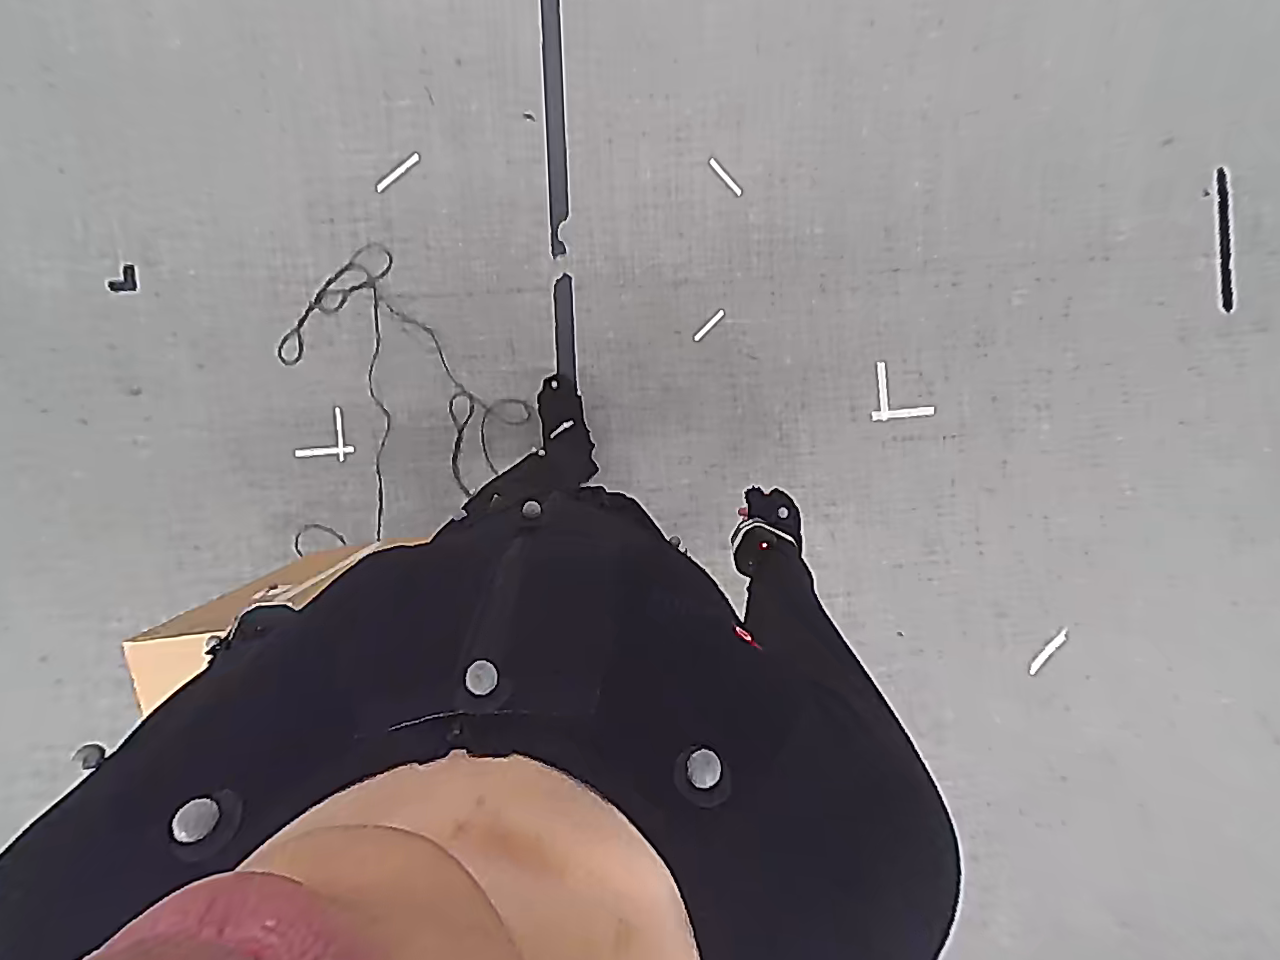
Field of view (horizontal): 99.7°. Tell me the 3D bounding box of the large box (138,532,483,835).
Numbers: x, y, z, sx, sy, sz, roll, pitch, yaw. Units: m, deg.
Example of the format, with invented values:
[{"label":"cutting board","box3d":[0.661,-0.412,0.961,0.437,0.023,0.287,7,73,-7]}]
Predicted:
[{"label":"large box","box3d":[-0.493,0.302,0.921,0.320,0.408,0.320,-8,99,2]}]
